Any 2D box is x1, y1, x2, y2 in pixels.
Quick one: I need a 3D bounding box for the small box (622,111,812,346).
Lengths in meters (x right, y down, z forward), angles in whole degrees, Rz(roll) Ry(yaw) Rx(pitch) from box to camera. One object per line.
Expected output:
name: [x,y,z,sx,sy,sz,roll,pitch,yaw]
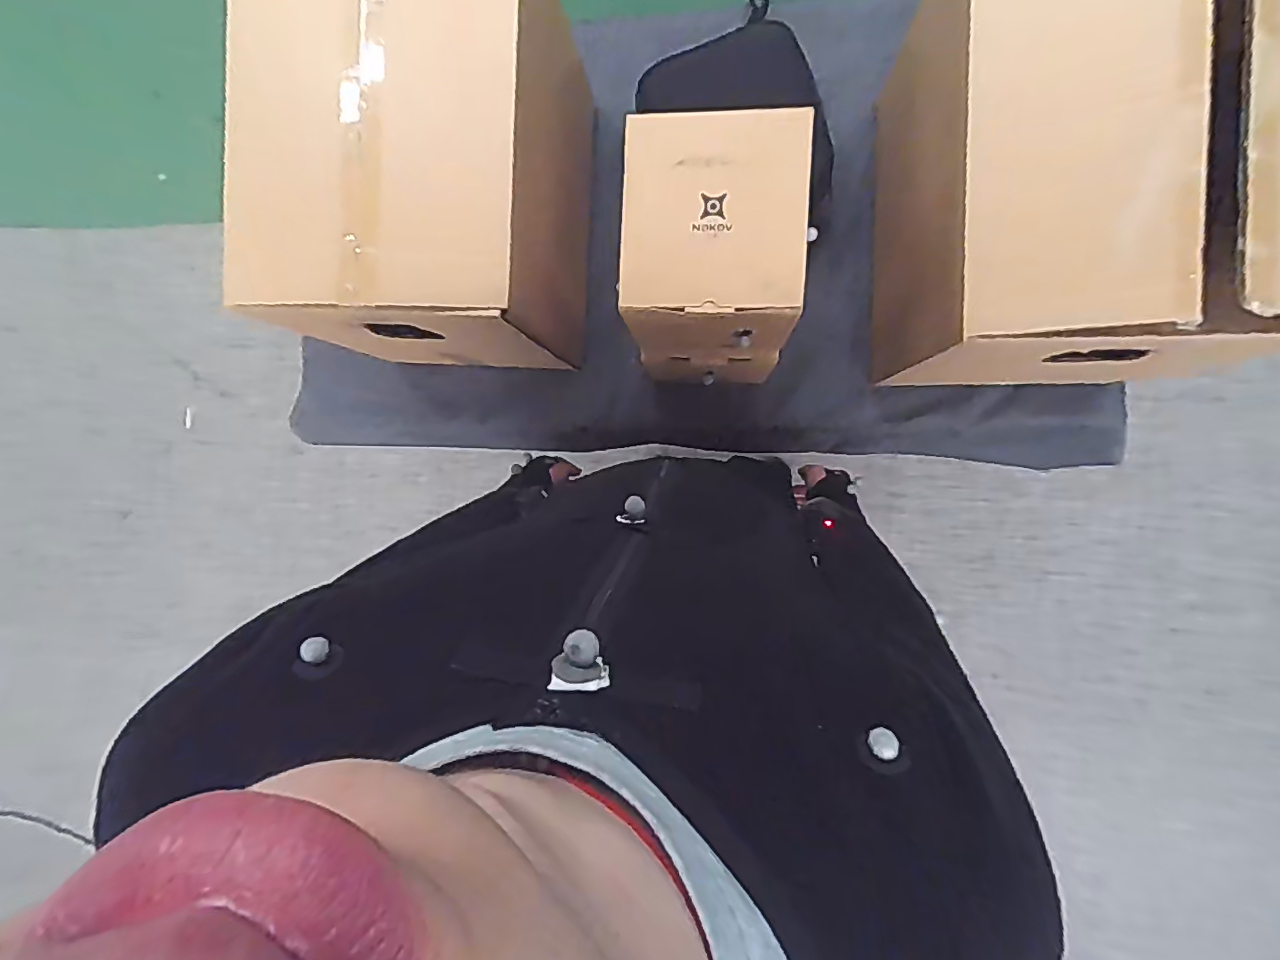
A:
small box: [0.076,-0.241,0.563,0.168,0.176,0.179,2,91,6]
